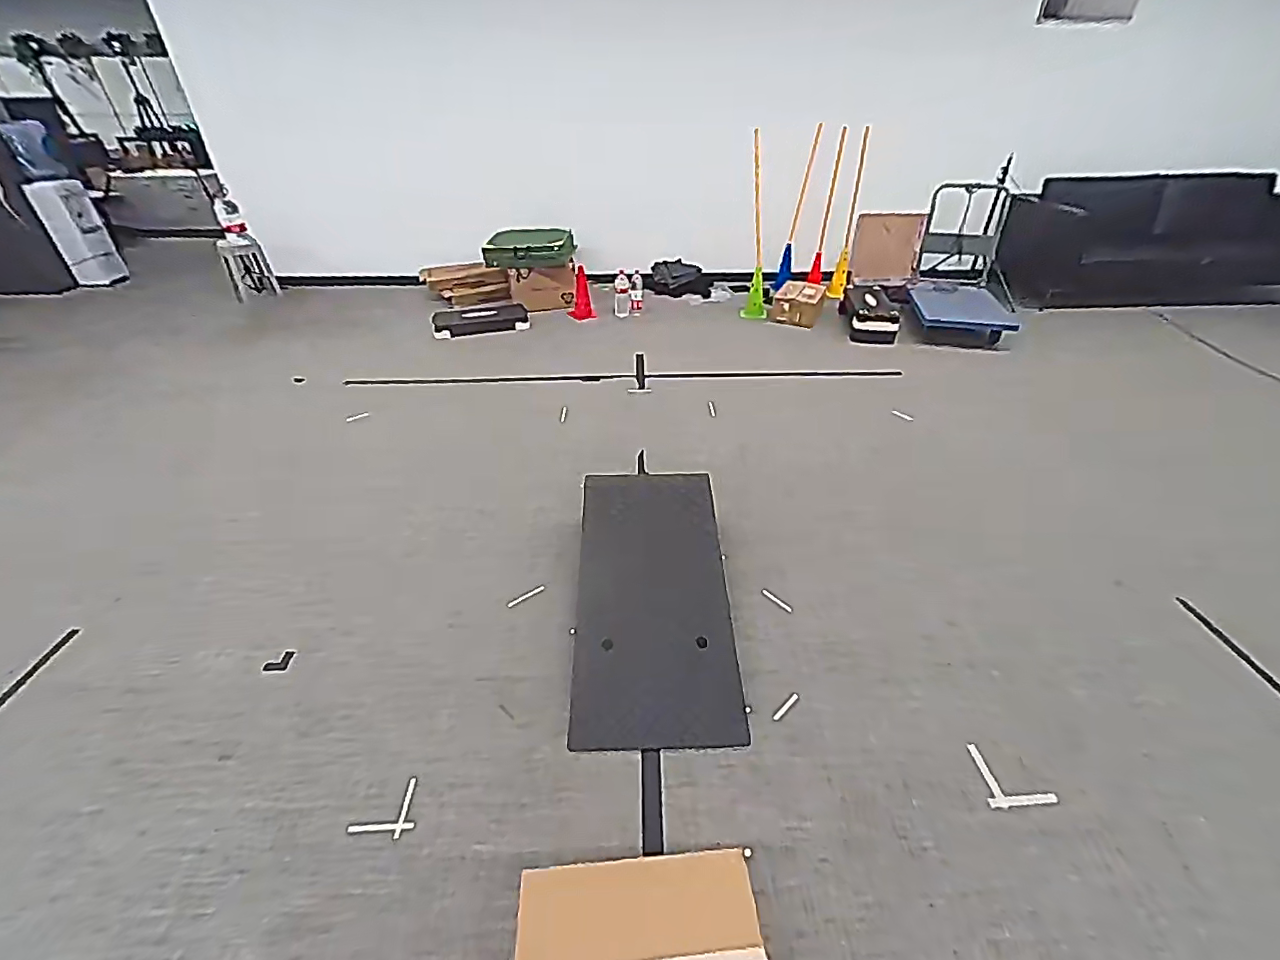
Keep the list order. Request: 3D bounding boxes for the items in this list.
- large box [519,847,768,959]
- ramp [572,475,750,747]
[{"bbox_3d":[0.004,0.894,0.939,0.408,0.320,0.320,-2,36,-4],"label":"large box"},{"bbox_3d":[0.048,0.349,1.788,0.509,0.206,0.991,-1,37,-3],"label":"ramp"}]
